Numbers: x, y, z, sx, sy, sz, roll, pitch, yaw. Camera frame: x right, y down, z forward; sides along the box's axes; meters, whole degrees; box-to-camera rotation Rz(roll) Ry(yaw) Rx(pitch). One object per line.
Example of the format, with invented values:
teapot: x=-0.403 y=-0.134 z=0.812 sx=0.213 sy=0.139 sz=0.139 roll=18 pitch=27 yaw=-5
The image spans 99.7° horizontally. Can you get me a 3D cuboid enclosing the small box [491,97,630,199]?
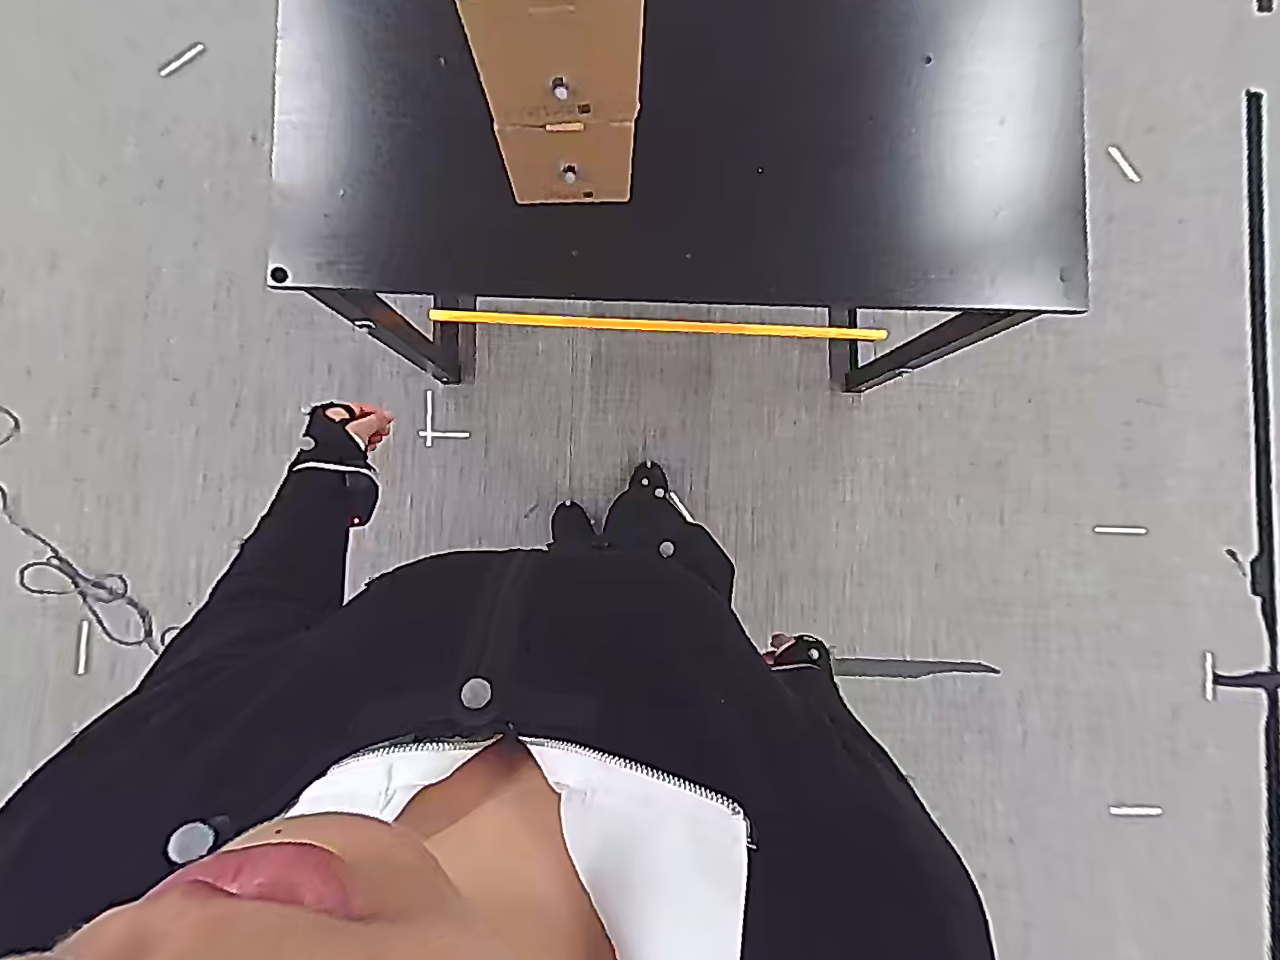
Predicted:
small box: x=-0.099 y=-0.496 z=0.717 sx=0.168 sy=0.176 sz=0.179 roll=-3 pitch=88 yaw=-3

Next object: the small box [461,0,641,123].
small box: x=-0.090 y=-0.507 z=0.551 sx=0.168 sy=0.176 sz=0.179 roll=-5 pitch=88 yaw=-2
